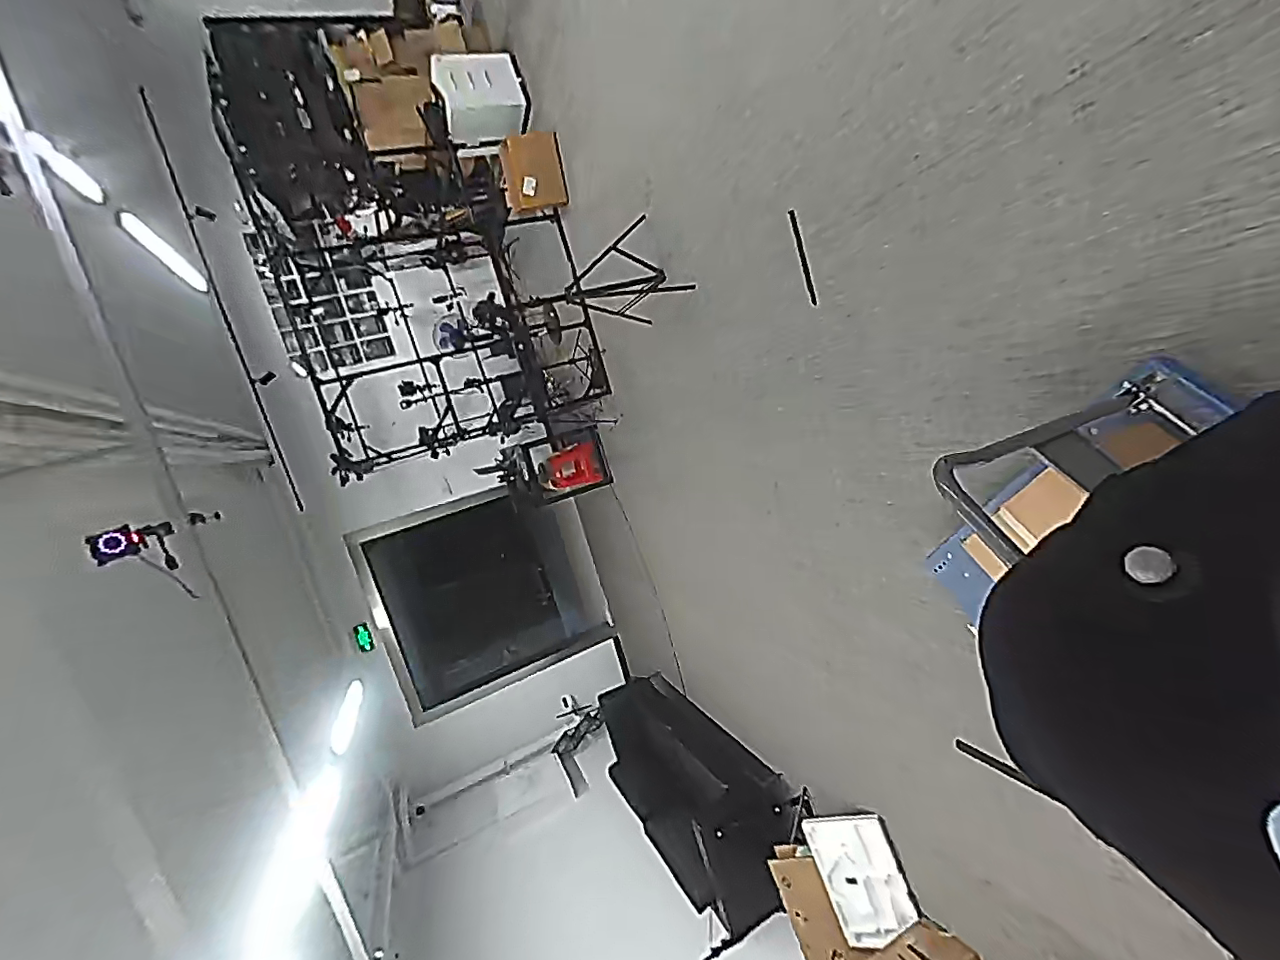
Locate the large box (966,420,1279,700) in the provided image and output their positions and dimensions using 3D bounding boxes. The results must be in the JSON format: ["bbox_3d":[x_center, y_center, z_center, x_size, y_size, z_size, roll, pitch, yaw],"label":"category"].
[{"bbox_3d":[0.989,0.152,1.081,0.408,0.320,0.320,60,158,30],"label":"large box"}]
